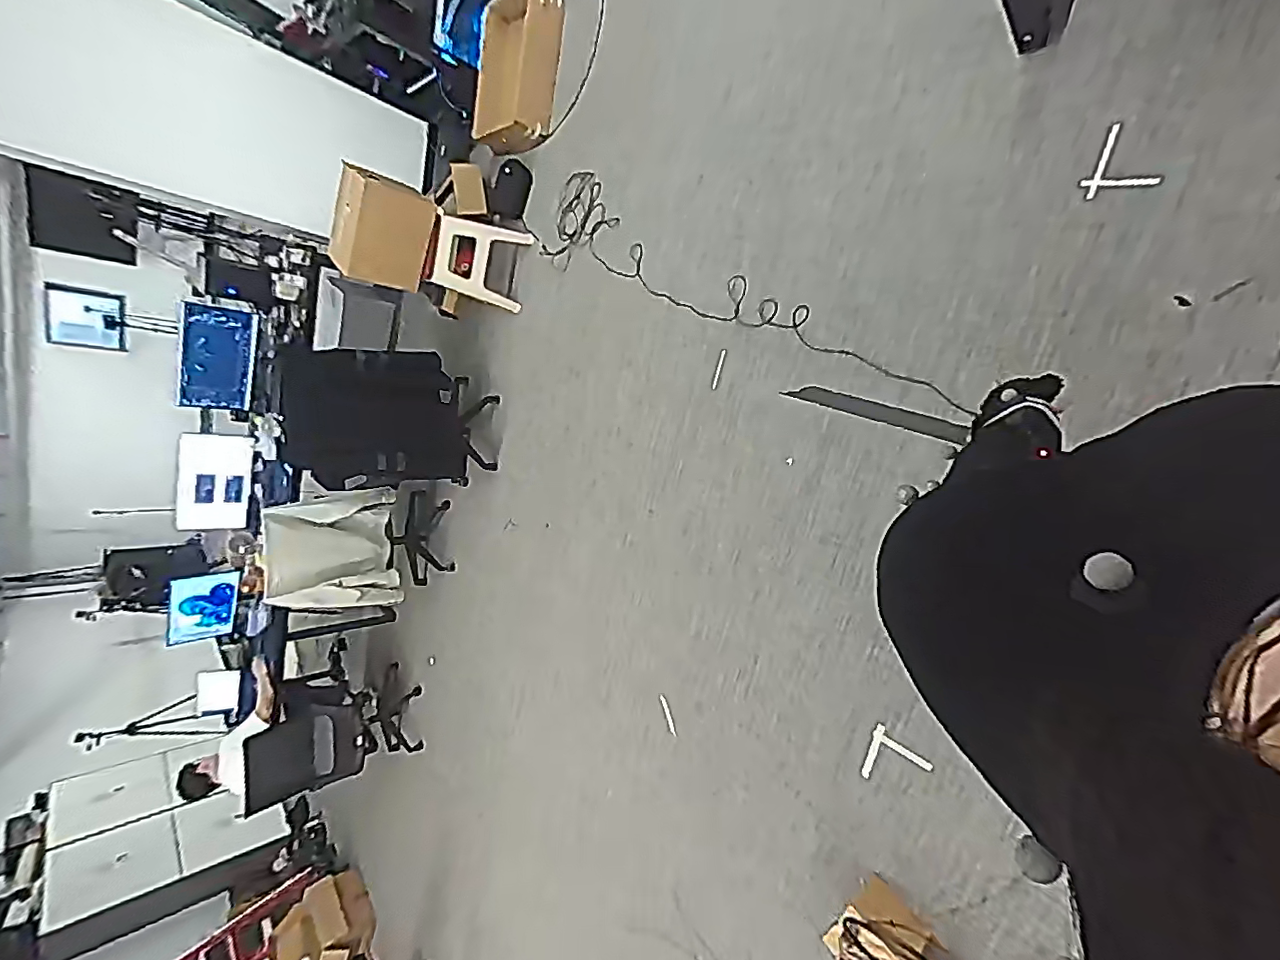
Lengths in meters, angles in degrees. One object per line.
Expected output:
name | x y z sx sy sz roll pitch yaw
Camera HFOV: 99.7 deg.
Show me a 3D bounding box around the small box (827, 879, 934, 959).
small box | 0.648 1.226 1.455 0.179 0.176 0.168 39 117 36
